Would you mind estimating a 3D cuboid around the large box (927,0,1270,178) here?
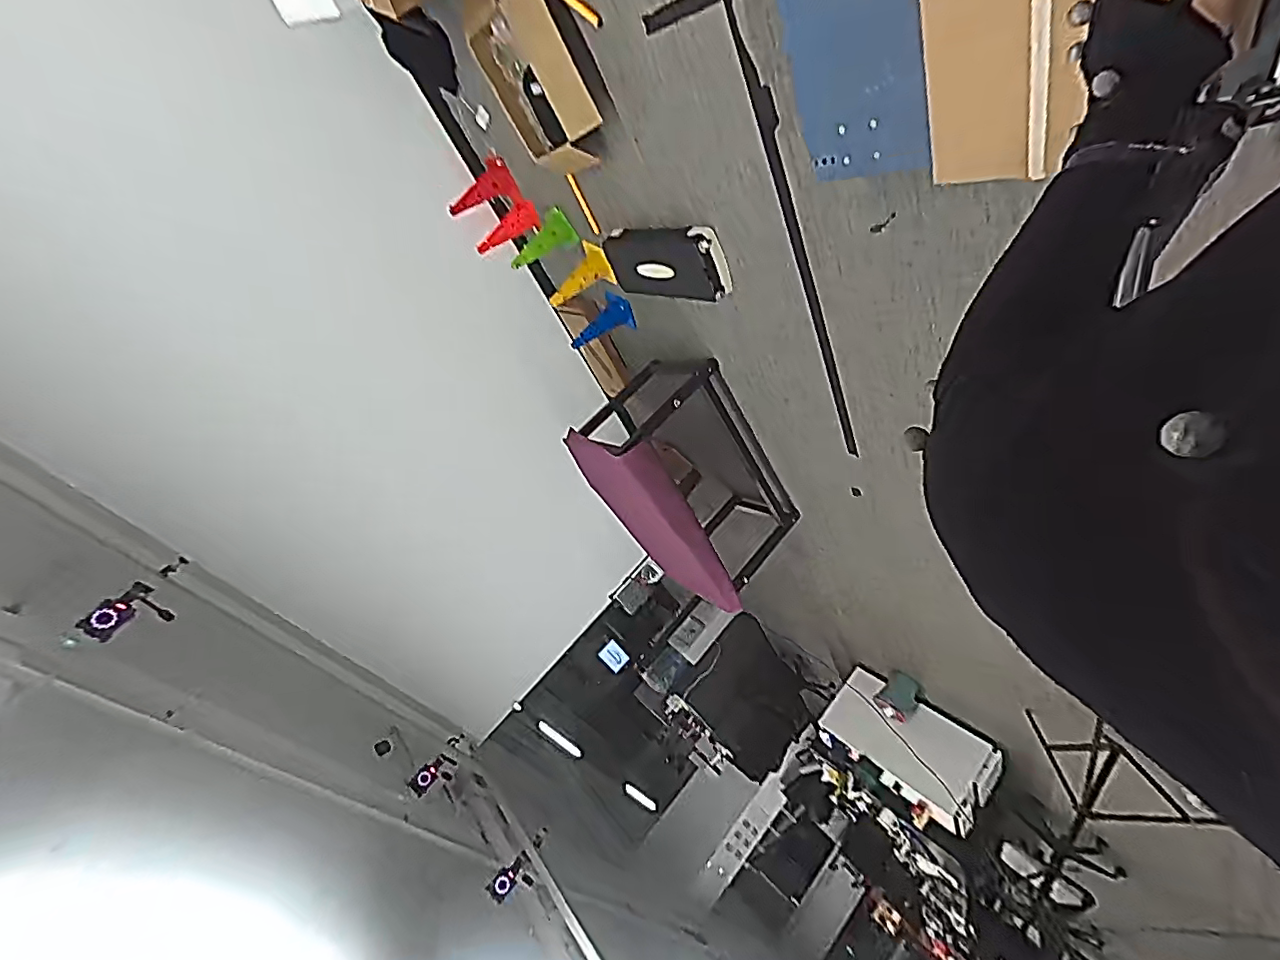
[{"bbox_3d":[0.635,-0.712,0.748,0.320,0.320,0.408,24,153,47],"label":"large box"}]
